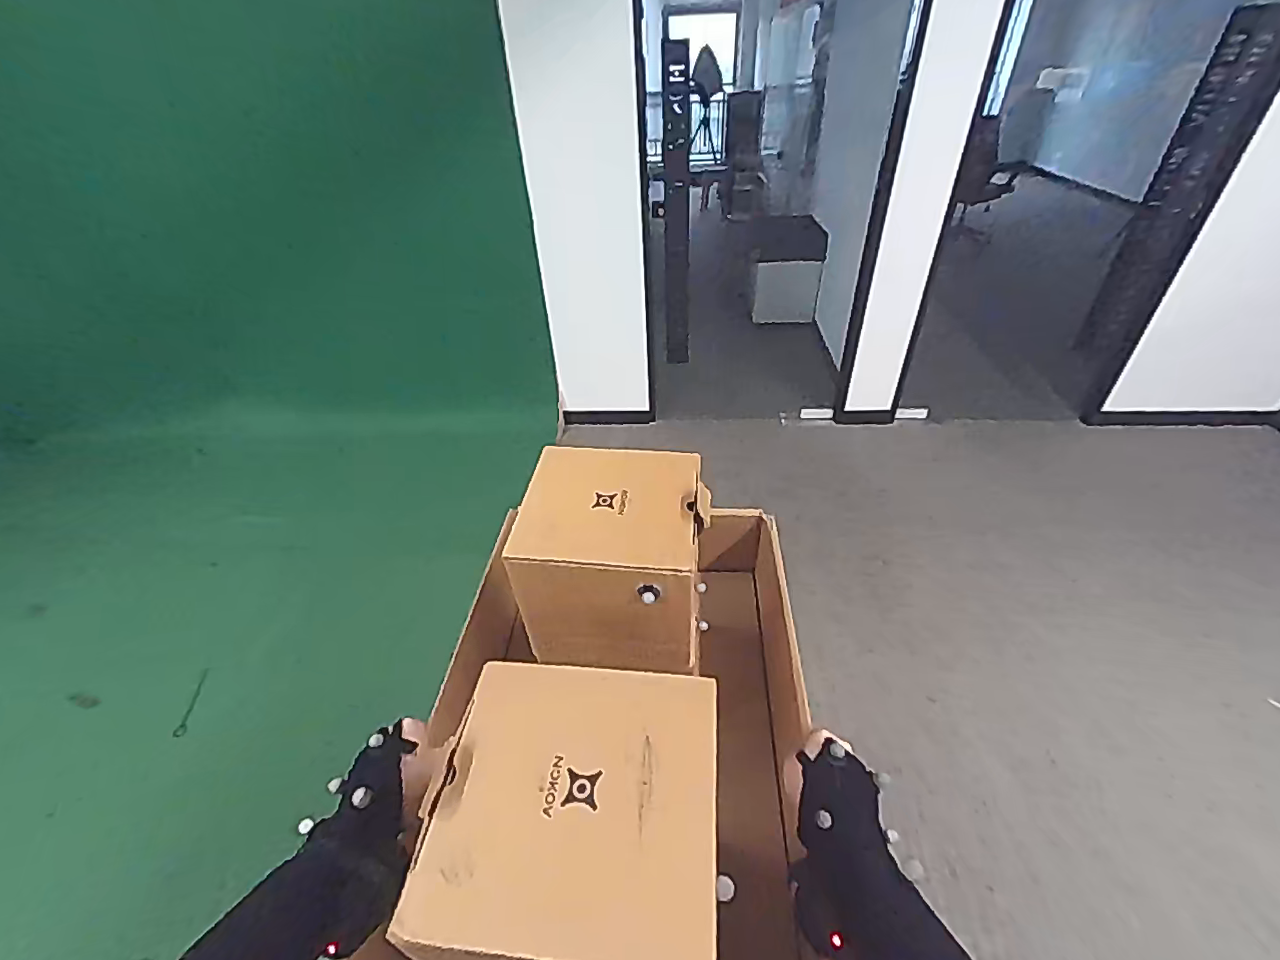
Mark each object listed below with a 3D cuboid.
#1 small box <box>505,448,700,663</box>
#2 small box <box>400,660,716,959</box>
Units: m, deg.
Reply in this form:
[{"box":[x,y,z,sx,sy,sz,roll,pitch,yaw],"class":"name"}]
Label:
[{"box":[-0.027,0.083,0.596,0.179,0.176,0.168,4,42,6],"class":"small box"},{"box":[-0.036,0.256,0.398,0.179,0.176,0.168,3,42,5],"class":"small box"}]
